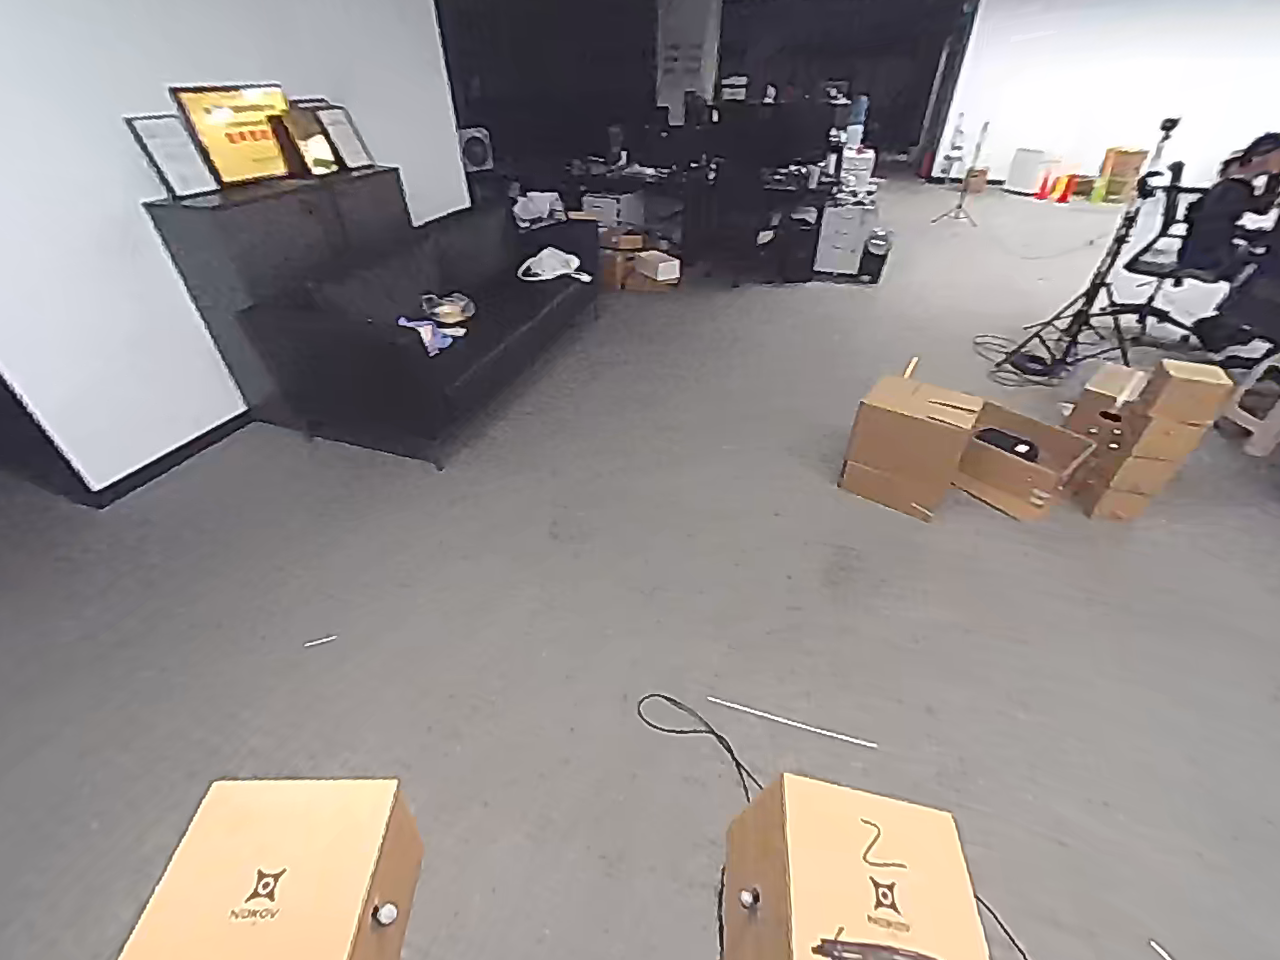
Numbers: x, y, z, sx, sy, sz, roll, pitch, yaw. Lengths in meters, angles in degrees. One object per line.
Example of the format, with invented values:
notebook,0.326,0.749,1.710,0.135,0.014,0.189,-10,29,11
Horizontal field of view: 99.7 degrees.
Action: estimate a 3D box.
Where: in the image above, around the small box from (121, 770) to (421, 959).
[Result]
small box,-0.310,0.391,0.490,0.168,0.176,0.179,4,39,-5
